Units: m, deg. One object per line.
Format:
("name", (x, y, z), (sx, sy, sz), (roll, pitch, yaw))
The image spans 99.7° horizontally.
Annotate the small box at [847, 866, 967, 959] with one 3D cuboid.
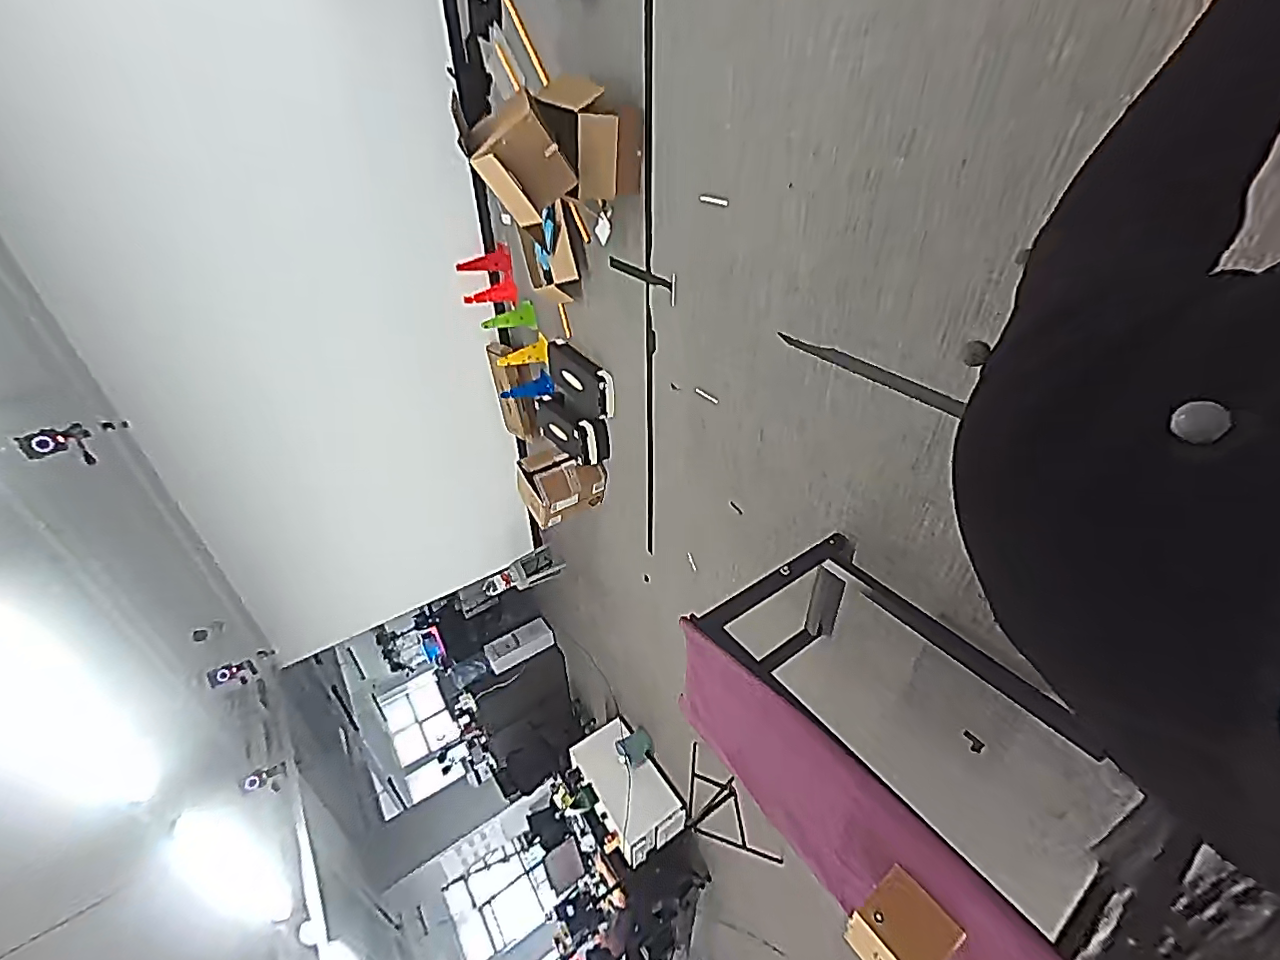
("small box", (0.616, 1.057, 1.254), (0.179, 0.176, 0.168), (38, 141, 45))
